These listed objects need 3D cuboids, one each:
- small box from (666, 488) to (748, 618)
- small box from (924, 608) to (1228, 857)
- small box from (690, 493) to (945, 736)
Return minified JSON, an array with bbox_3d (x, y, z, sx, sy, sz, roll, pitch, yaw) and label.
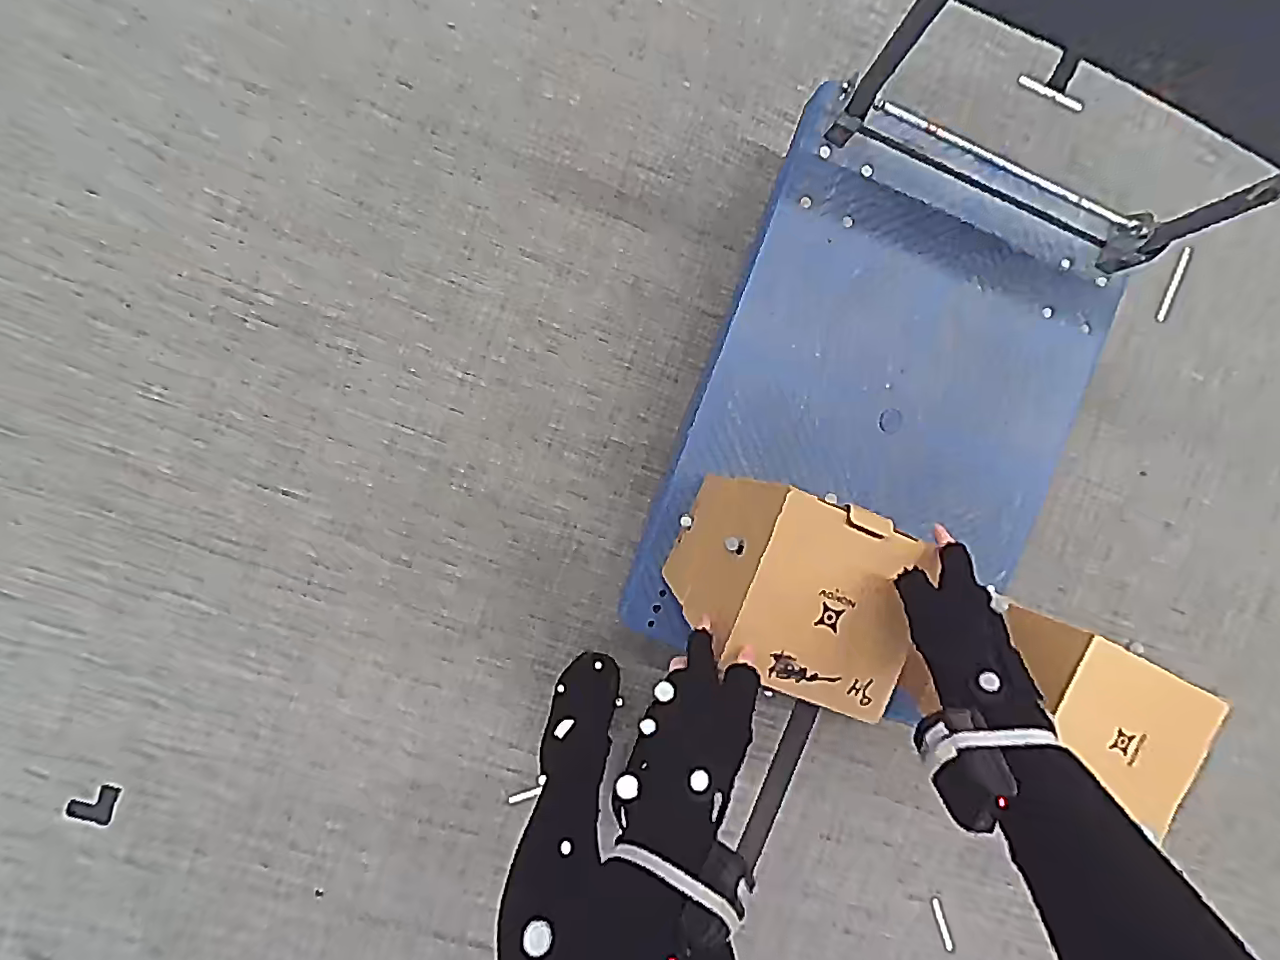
[{"bbox_3d":[0.152,0.116,0.727,0.179,0.176,0.168,25,90,-6],"label":"small box"},{"bbox_3d":[0.463,0.261,0.604,0.179,0.176,0.168,26,90,-8],"label":"small box"},{"bbox_3d":[0.166,0.121,0.563,0.168,0.176,0.179,22,89,-6],"label":"small box"}]
